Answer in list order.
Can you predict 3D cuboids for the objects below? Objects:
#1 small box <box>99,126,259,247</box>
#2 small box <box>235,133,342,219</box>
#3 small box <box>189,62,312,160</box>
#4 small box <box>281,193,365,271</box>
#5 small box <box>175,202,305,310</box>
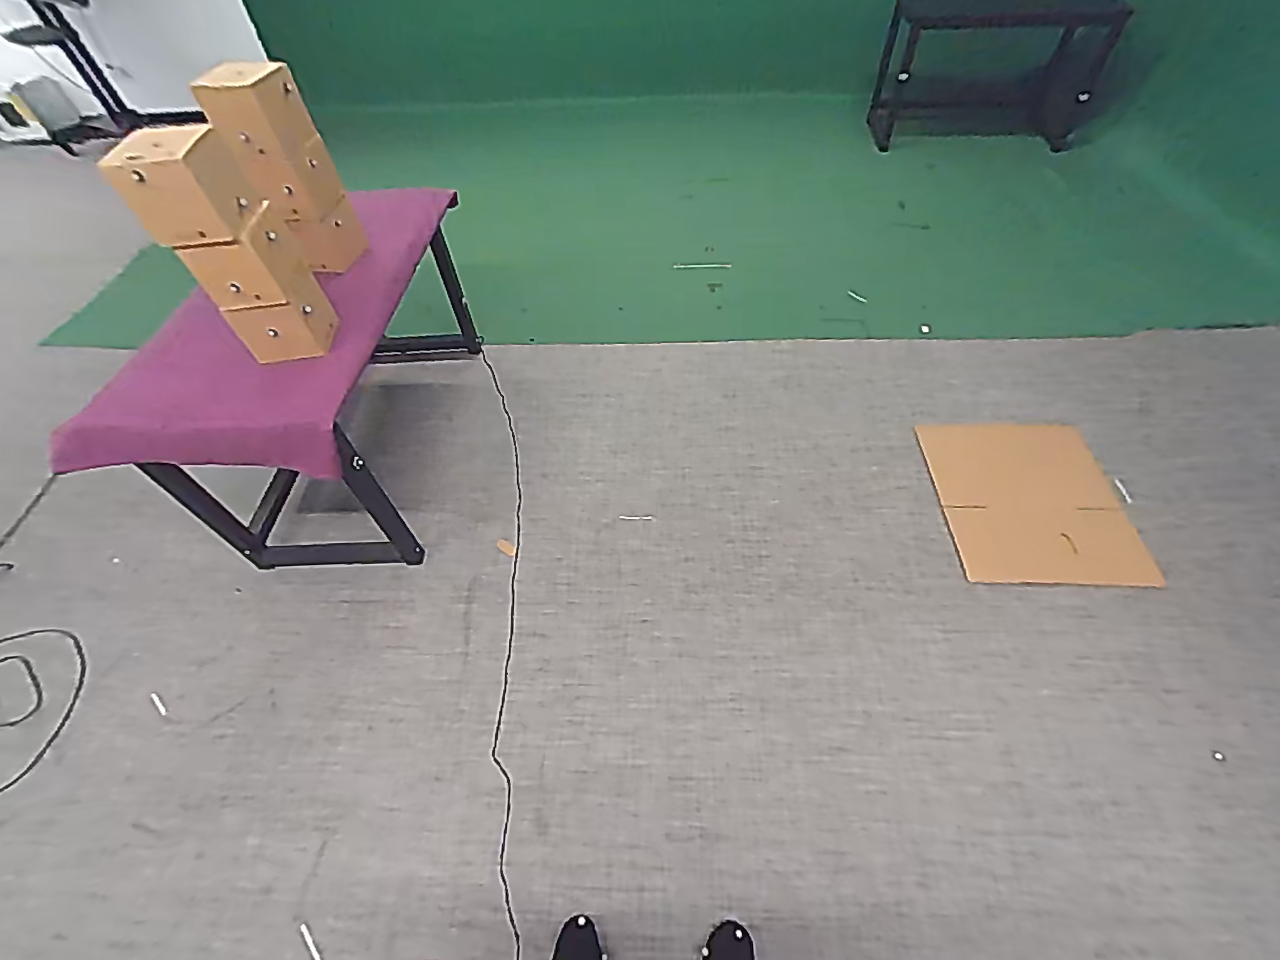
[{"bbox_3d":[-0.959,-0.621,1.149,0.168,0.176,0.179,-6,52,0],"label":"small box"},{"bbox_3d":[-0.995,-0.868,1.549,0.168,0.176,0.179,5,53,6],"label":"small box"},{"bbox_3d":[-1.004,-0.967,1.418,0.168,0.176,0.179,4,53,5],"label":"small box"},{"bbox_3d":[-0.991,-0.770,1.679,0.168,0.176,0.179,5,52,7],"label":"small box"},{"bbox_3d":[-0.935,-0.530,1.284,0.168,0.176,0.179,-7,53,-1],"label":"small box"}]
